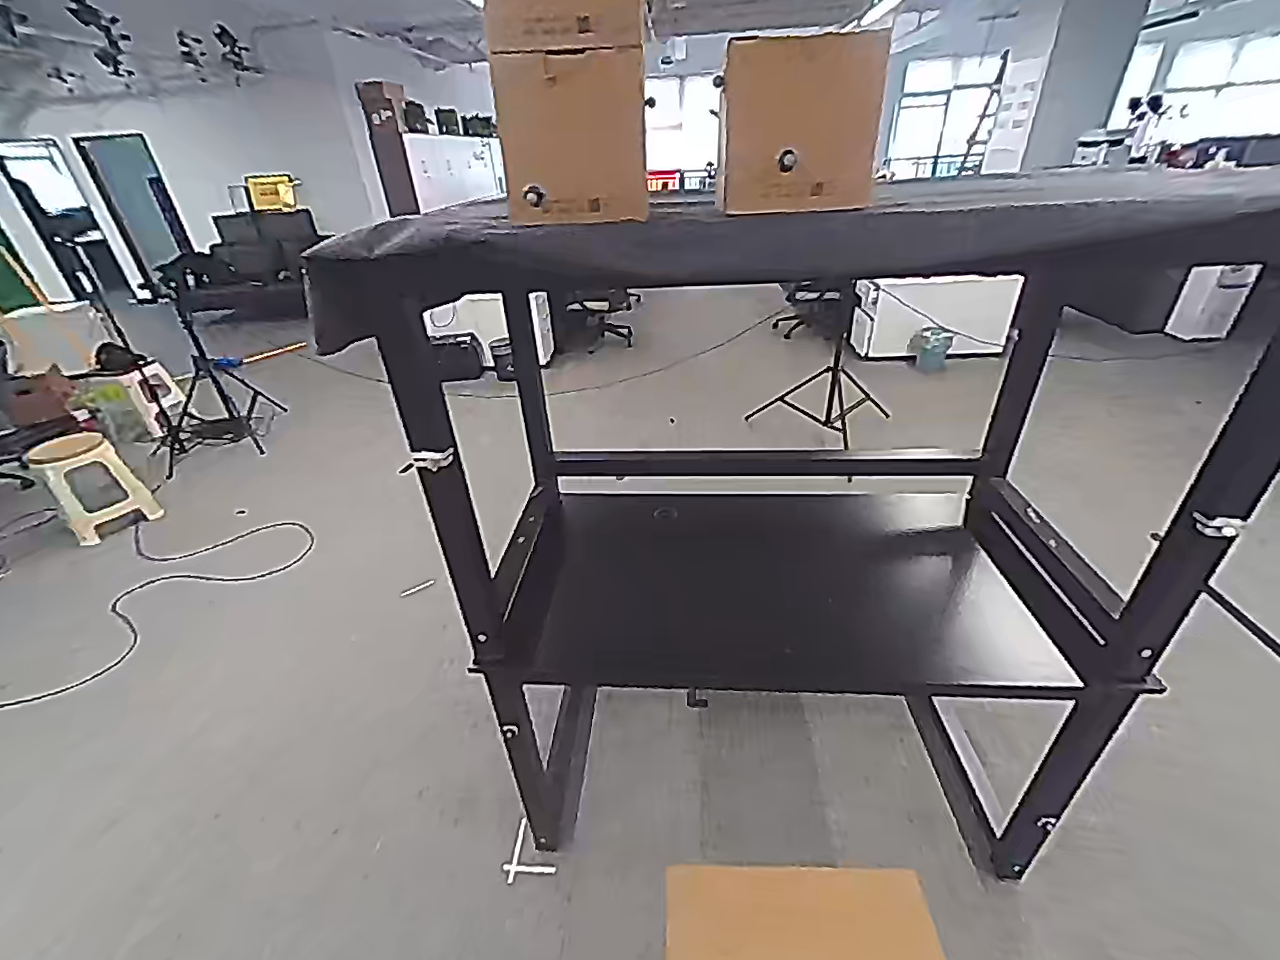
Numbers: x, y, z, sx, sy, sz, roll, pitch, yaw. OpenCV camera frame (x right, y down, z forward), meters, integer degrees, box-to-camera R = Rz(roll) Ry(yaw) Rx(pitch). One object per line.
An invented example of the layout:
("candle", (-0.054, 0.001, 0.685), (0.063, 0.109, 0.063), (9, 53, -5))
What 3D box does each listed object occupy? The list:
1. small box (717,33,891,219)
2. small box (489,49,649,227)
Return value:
("small box", (0.182, -0.417, 0.662), (0.168, 0.176, 0.179), (-1, 29, 5))
("small box", (-0.074, -0.414, 0.679), (0.168, 0.176, 0.179), (-1, 29, 2))
